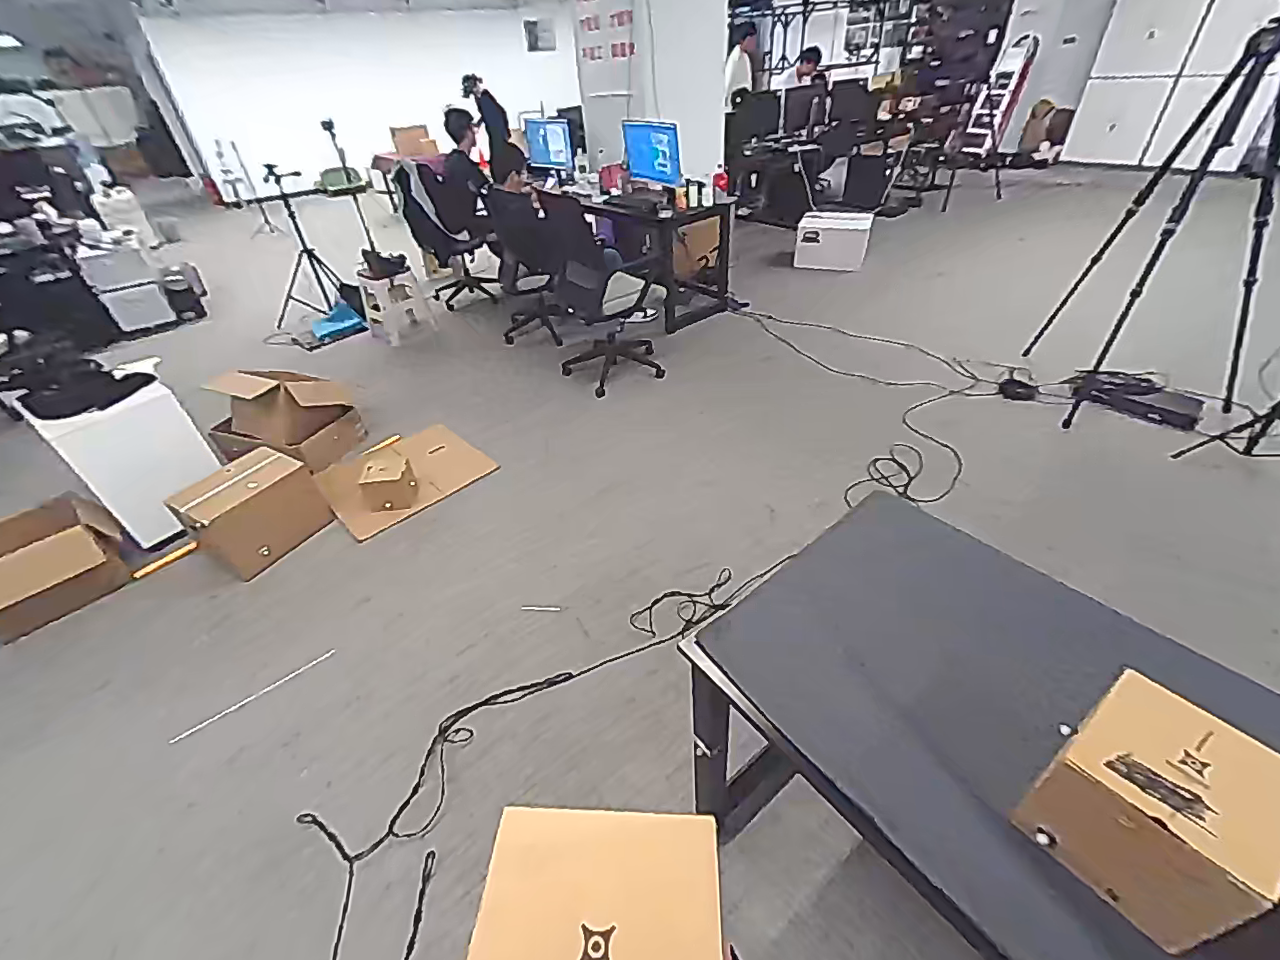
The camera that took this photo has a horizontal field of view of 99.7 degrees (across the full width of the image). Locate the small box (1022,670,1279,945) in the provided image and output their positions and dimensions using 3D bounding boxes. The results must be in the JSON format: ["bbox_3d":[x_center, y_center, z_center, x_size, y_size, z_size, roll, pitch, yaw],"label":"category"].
[{"bbox_3d":[0.570,0.361,0.606,0.179,0.176,0.168,-26,42,-27],"label":"small box"}]

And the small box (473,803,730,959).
[{"bbox_3d":[-0.025,0.367,0.388,0.168,0.176,0.179,1,34,2],"label":"small box"}]
